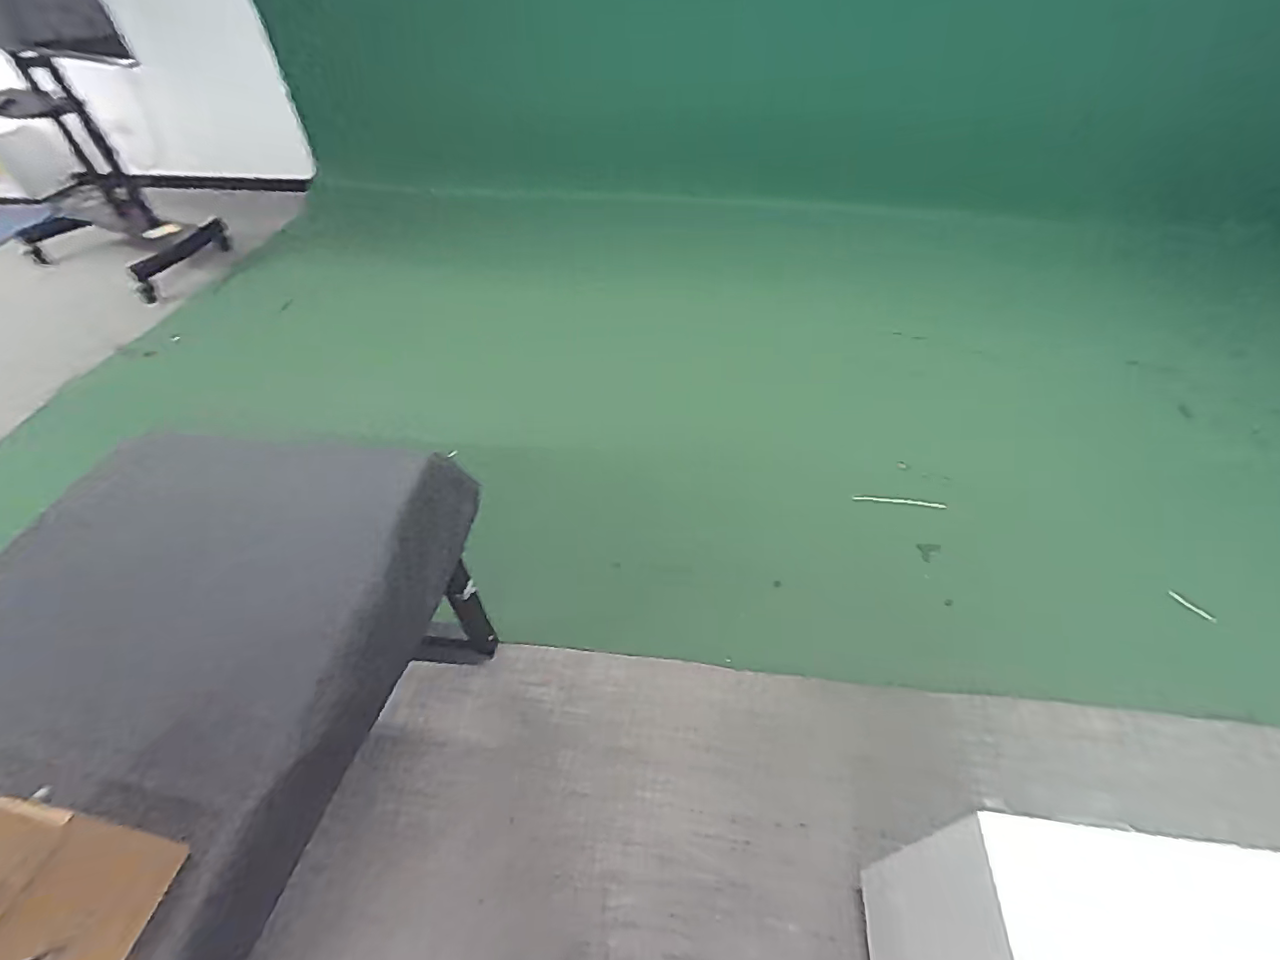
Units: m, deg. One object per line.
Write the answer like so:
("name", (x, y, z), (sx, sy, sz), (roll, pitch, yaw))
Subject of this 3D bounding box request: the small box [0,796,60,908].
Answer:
("small box", (-0.596, 0.288, 0.369), (0.179, 0.176, 0.168), (4, 47, 9))

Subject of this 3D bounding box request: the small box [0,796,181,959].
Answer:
("small box", (-0.586, 0.401, 0.489), (0.168, 0.176, 0.179), (5, 48, 8))
